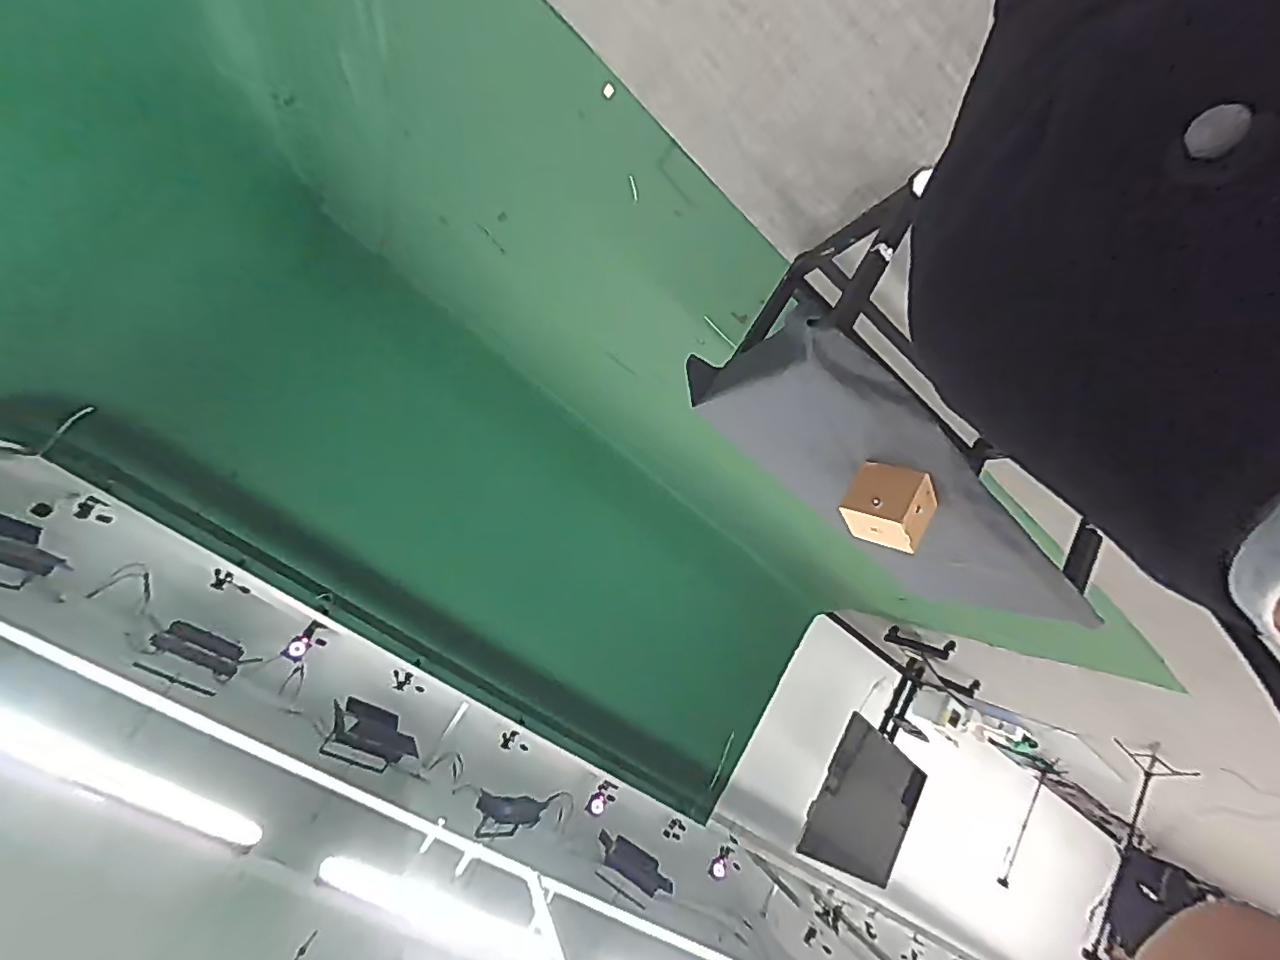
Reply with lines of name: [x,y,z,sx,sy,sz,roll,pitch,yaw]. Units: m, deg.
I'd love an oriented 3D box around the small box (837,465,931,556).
small box: [0.681,0.079,1.493,0.179,0.176,0.168,19,158,46]
